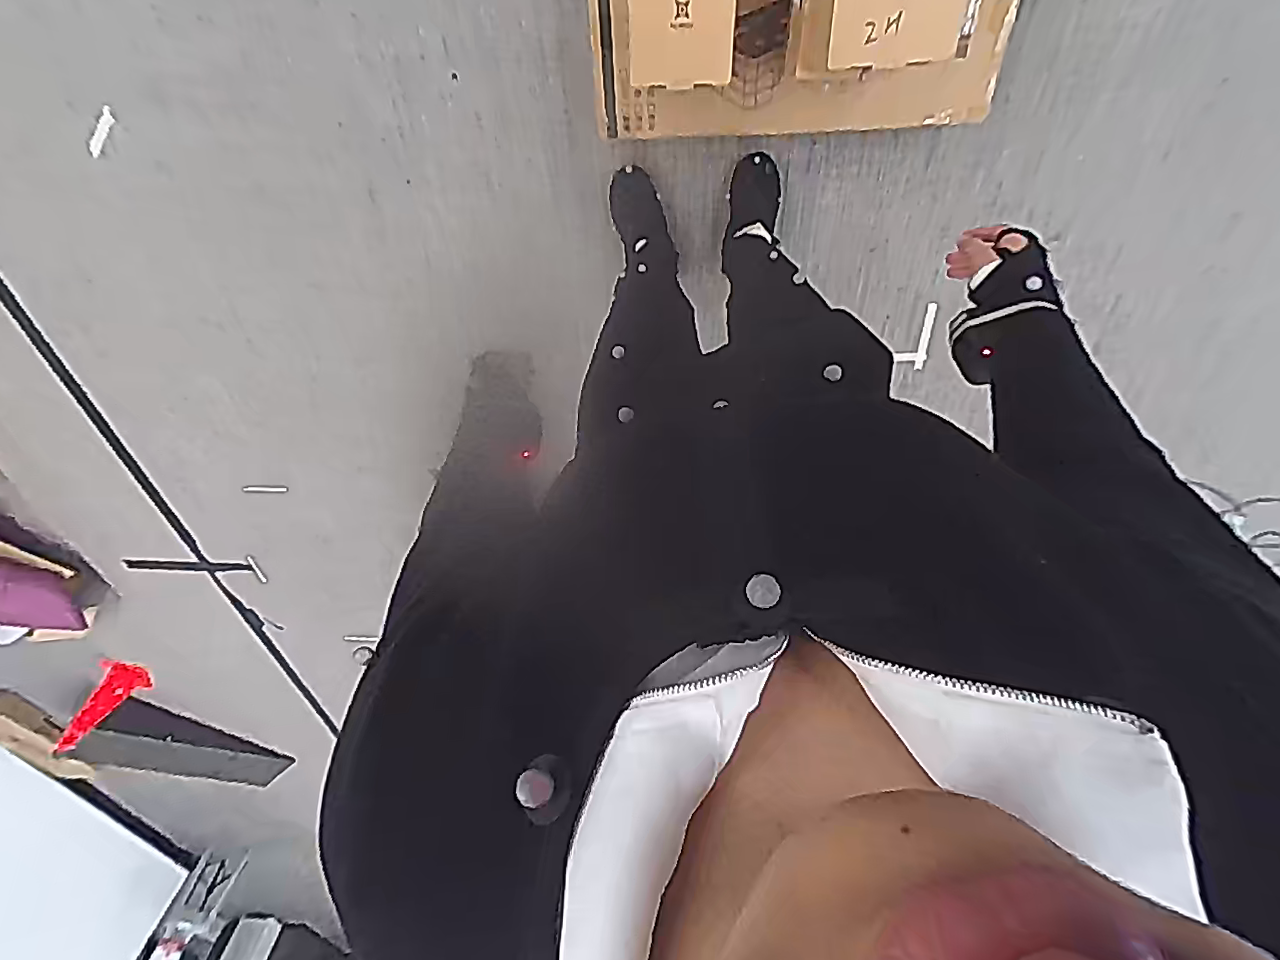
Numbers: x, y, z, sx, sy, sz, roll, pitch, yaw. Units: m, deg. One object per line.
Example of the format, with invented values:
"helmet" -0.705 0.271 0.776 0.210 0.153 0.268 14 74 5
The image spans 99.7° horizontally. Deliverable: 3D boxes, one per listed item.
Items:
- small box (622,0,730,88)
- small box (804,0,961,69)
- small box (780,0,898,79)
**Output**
"small box" 0.062 -0.760 0.890 0.168 0.176 0.179 2 128 5
"small box" 0.326 -0.673 0.732 0.168 0.176 0.179 0 127 5
"small box" 0.331 -0.760 0.874 0.168 0.176 0.179 3 128 2
